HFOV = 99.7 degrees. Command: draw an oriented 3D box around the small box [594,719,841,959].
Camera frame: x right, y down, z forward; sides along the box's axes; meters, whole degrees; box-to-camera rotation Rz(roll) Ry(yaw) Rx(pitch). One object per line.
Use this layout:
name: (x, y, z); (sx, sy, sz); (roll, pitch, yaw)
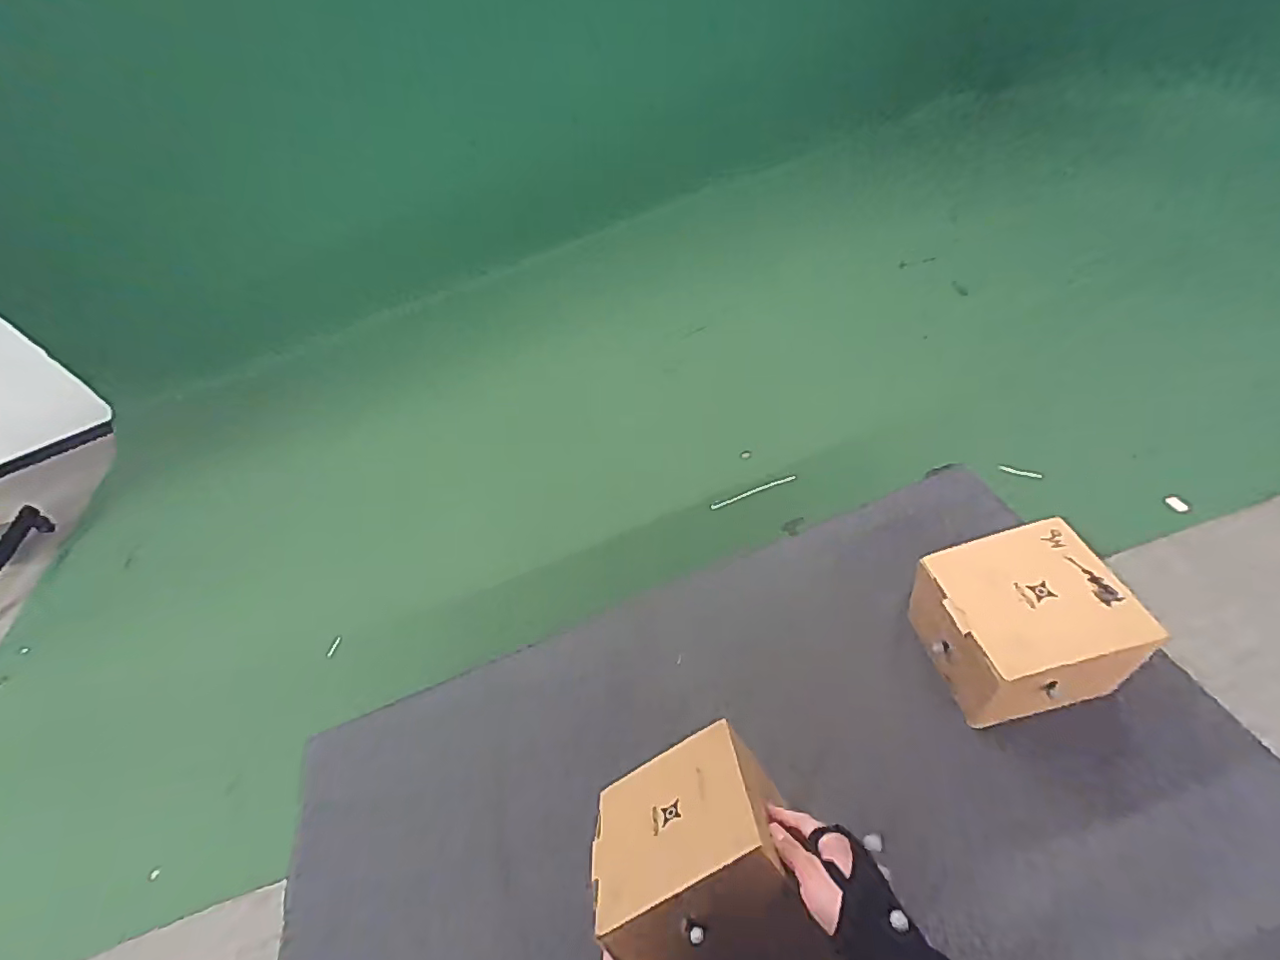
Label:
small box: (0.072, 0.401, 0.563); (0.179, 0.176, 0.168); (-32, 13, 5)

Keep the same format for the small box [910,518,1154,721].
small box: (0.460, 0.180, 0.676); (0.179, 0.176, 0.168); (-17, 48, 5)
